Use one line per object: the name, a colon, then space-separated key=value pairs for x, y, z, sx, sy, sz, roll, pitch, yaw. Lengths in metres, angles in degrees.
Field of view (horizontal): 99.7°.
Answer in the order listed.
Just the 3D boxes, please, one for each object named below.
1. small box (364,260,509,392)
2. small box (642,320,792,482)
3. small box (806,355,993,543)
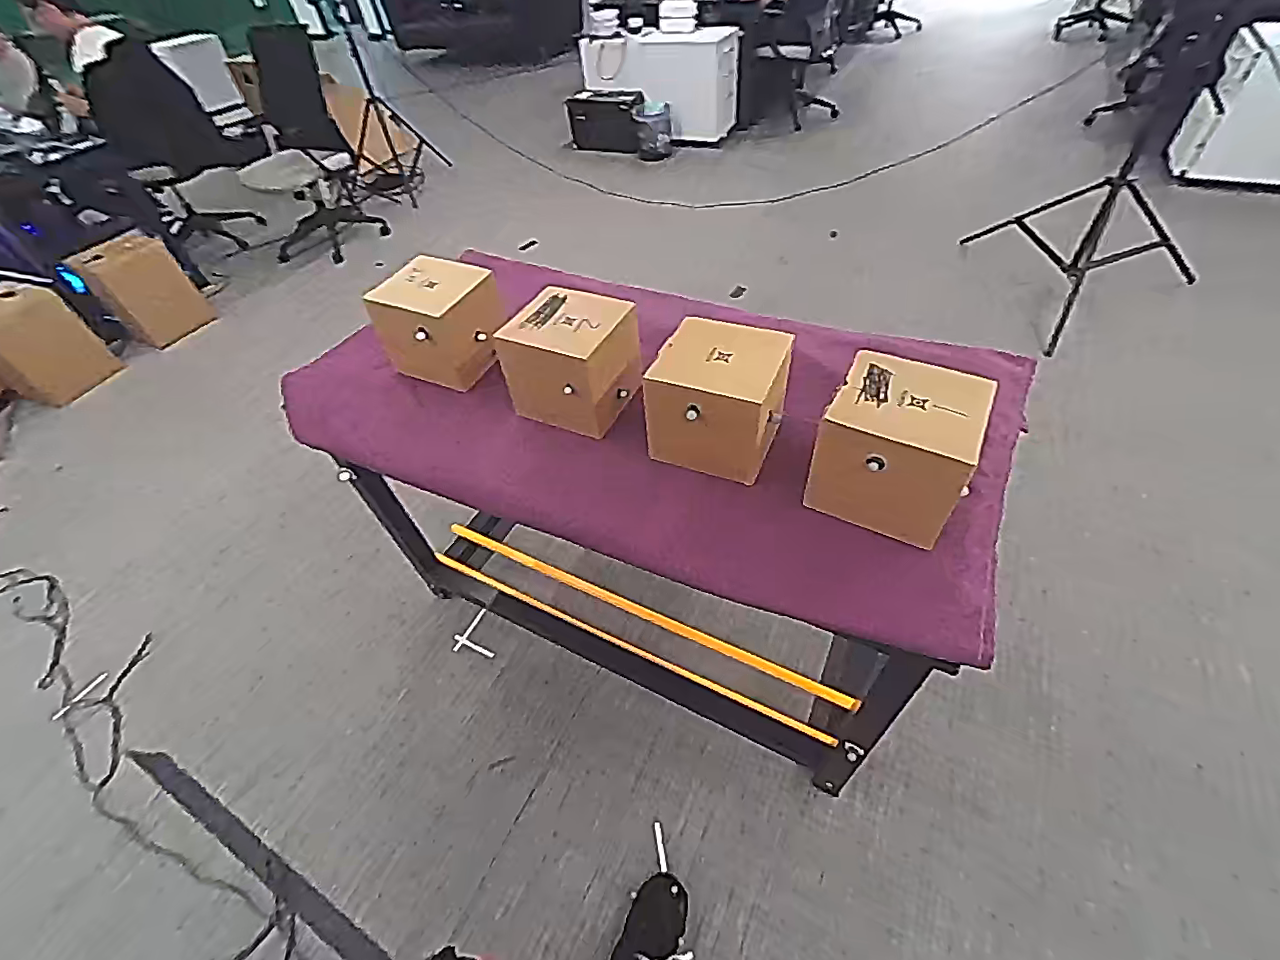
small box: x=-0.380 y=-0.294 z=1.045 sx=0.179 sy=0.176 sz=0.168 roll=18 pitch=52 yaw=18
small box: x=0.121 y=-0.119 z=0.839 sx=0.179 sy=0.176 sz=0.168 roll=16 pitch=52 yaw=20
small box: x=0.342 y=-0.041 z=0.738 sx=0.179 sy=0.176 sz=0.168 roll=21 pitch=53 yaw=23
